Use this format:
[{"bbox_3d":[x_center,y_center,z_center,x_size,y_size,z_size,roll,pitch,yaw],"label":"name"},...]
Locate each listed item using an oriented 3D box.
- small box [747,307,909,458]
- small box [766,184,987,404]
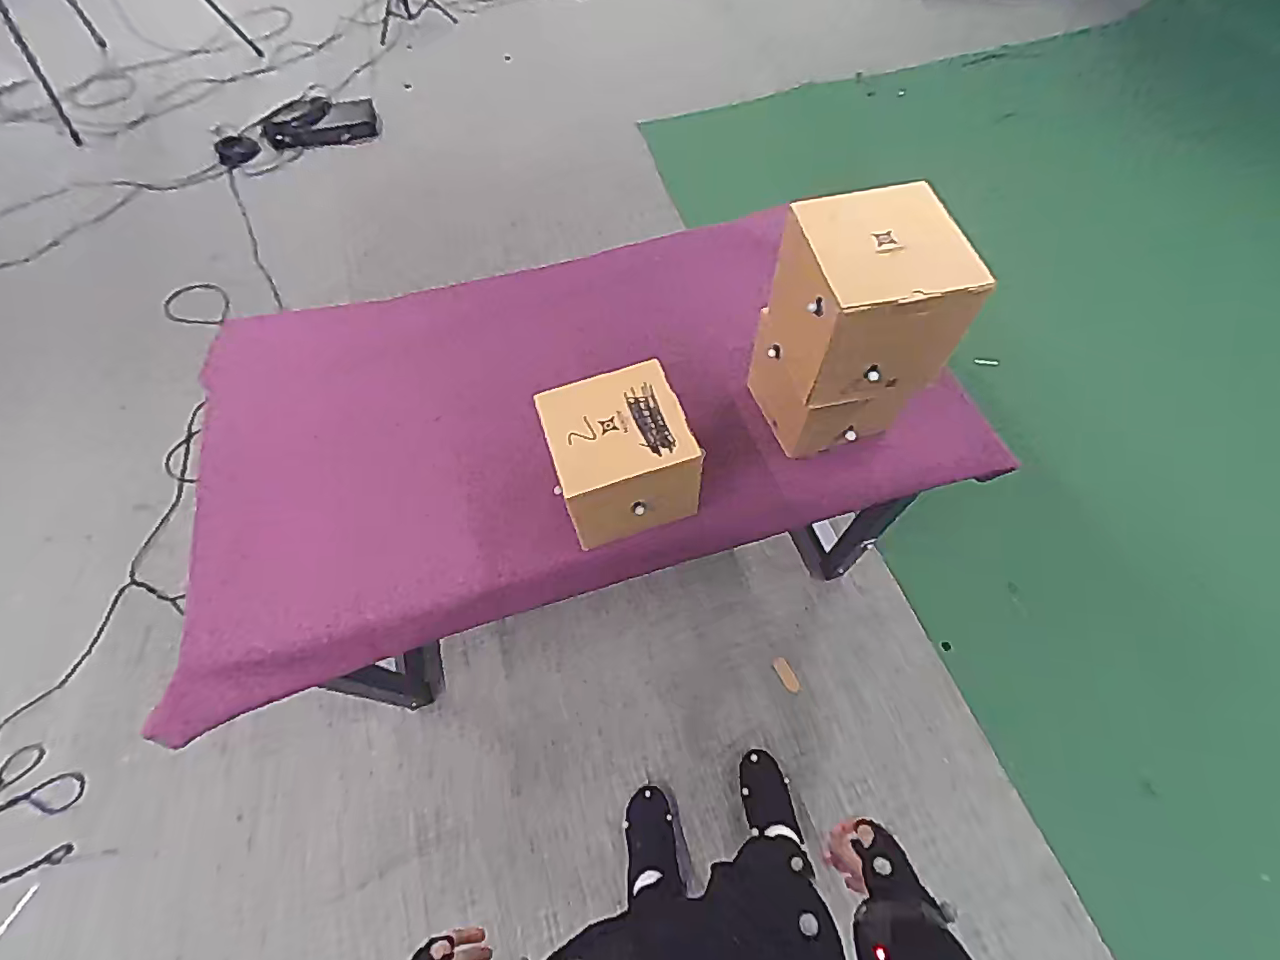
[{"bbox_3d":[0.278,-0.160,0.809,0.179,0.176,0.168,-18,60,-7],"label":"small box"},{"bbox_3d":[0.263,-0.220,0.657,0.168,0.176,0.179,-11,61,-2],"label":"small box"}]
